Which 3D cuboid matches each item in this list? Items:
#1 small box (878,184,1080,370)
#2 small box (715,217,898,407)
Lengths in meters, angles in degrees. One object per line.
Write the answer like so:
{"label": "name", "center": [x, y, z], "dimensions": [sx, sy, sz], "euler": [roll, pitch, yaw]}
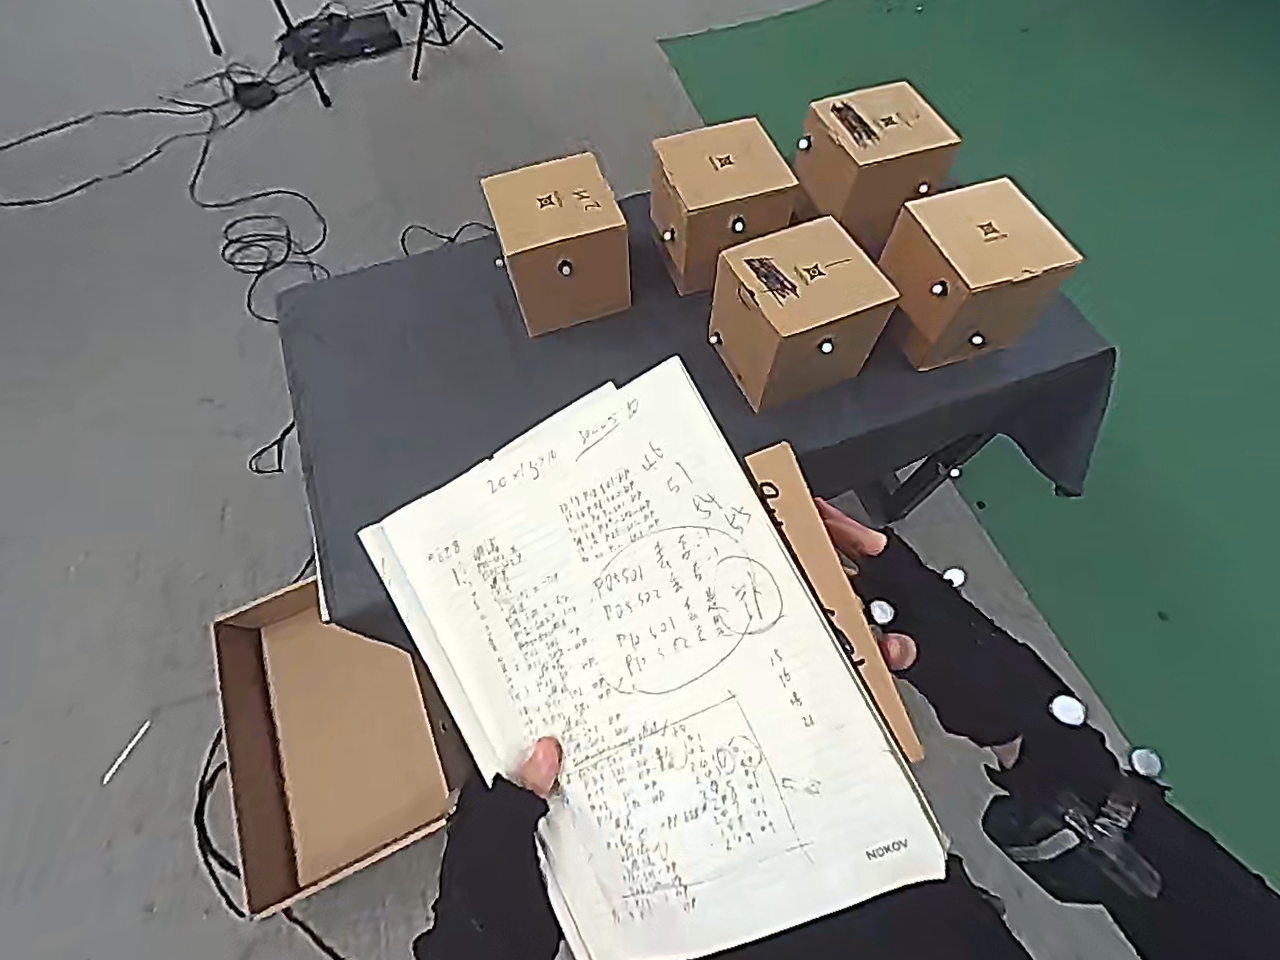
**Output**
{"label": "small box", "center": [0.470, -0.294, 0.798], "dimensions": [0.168, 0.176, 0.179], "euler": [-16, 65, -7]}
{"label": "small box", "center": [0.218, -0.230, 0.768], "dimensions": [0.179, 0.176, 0.168], "euler": [-21, 65, -10]}
